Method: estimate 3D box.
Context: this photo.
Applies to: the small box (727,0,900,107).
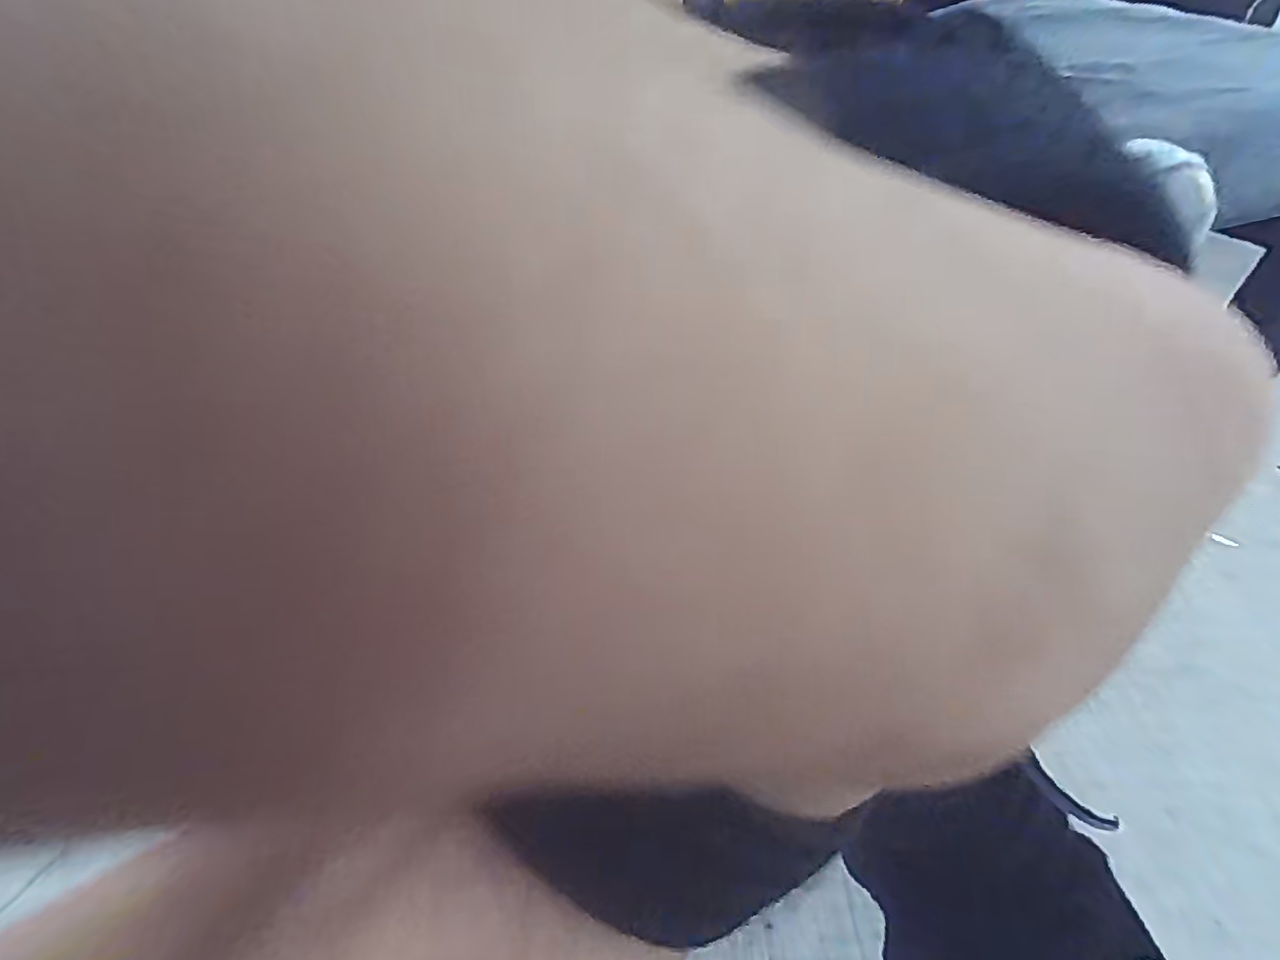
[{"bbox_3d":[0.192,-0.556,0.619,0.179,0.176,0.168,-5,47,8],"label":"small box"}]
